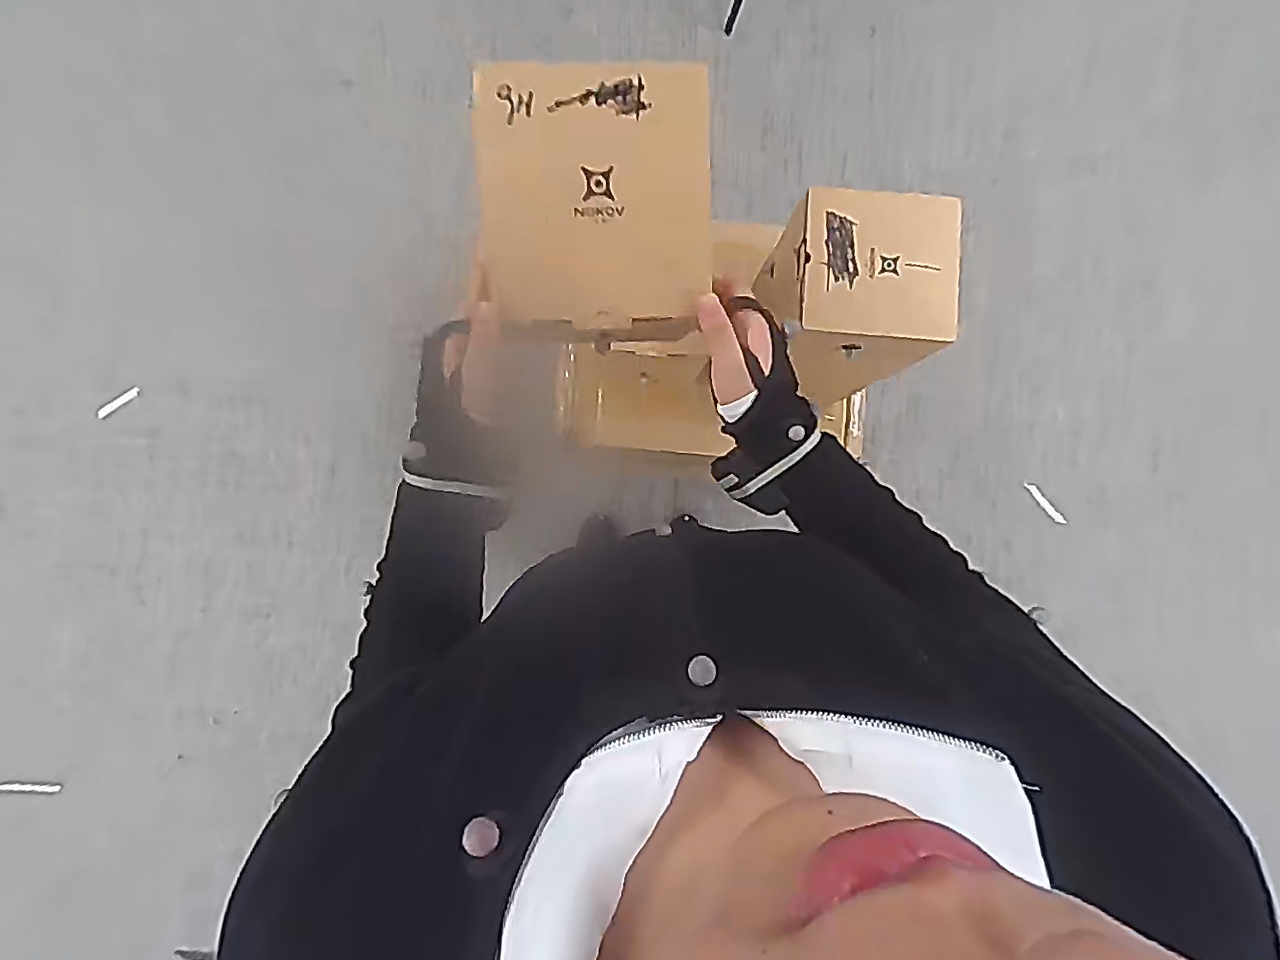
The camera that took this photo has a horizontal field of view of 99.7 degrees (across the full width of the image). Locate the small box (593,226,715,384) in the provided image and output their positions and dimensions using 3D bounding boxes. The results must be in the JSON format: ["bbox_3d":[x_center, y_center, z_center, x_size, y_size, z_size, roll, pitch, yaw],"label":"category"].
[{"bbox_3d":[0.015,-0.258,0.831,0.168,0.176,0.179,3,86,-3],"label":"small box"}]

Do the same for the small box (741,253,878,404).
[{"bbox_3d":[0.257,-0.226,0.842,0.168,0.176,0.179,4,87,0],"label":"small box"}]

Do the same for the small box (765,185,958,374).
[{"bbox_3d":[0.263,-0.237,0.677,0.179,0.176,0.168,4,86,-1],"label":"small box"}]
